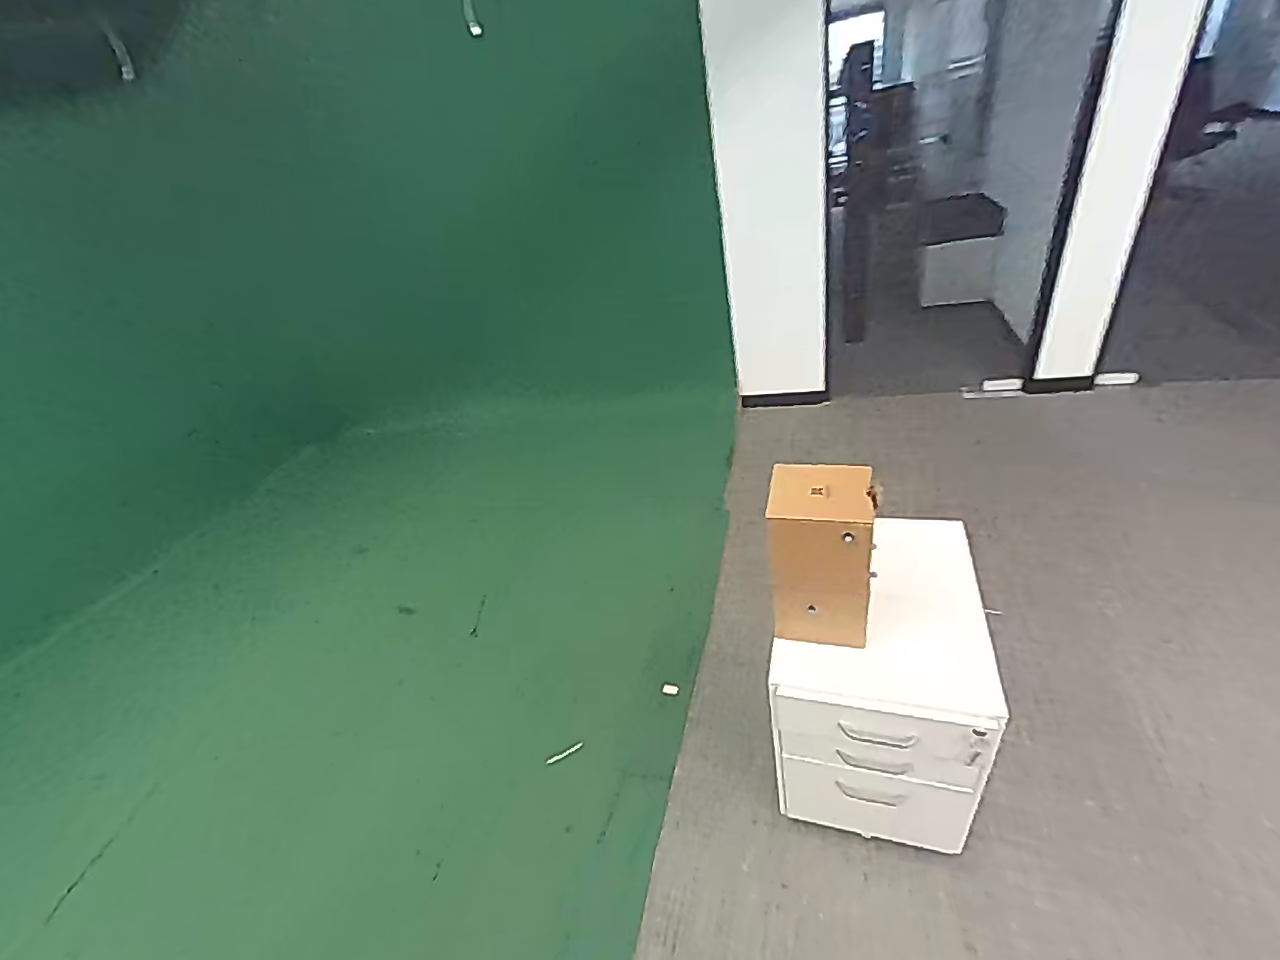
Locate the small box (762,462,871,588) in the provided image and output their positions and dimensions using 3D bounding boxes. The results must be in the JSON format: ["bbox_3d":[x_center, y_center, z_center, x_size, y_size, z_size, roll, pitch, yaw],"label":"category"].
[{"bbox_3d":[0.327,0.081,1.003,0.179,0.176,0.168,2,37,19],"label":"small box"}]

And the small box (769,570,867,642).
[{"bbox_3d":[0.363,0.209,1.099,0.179,0.176,0.168,1,38,19],"label":"small box"}]
